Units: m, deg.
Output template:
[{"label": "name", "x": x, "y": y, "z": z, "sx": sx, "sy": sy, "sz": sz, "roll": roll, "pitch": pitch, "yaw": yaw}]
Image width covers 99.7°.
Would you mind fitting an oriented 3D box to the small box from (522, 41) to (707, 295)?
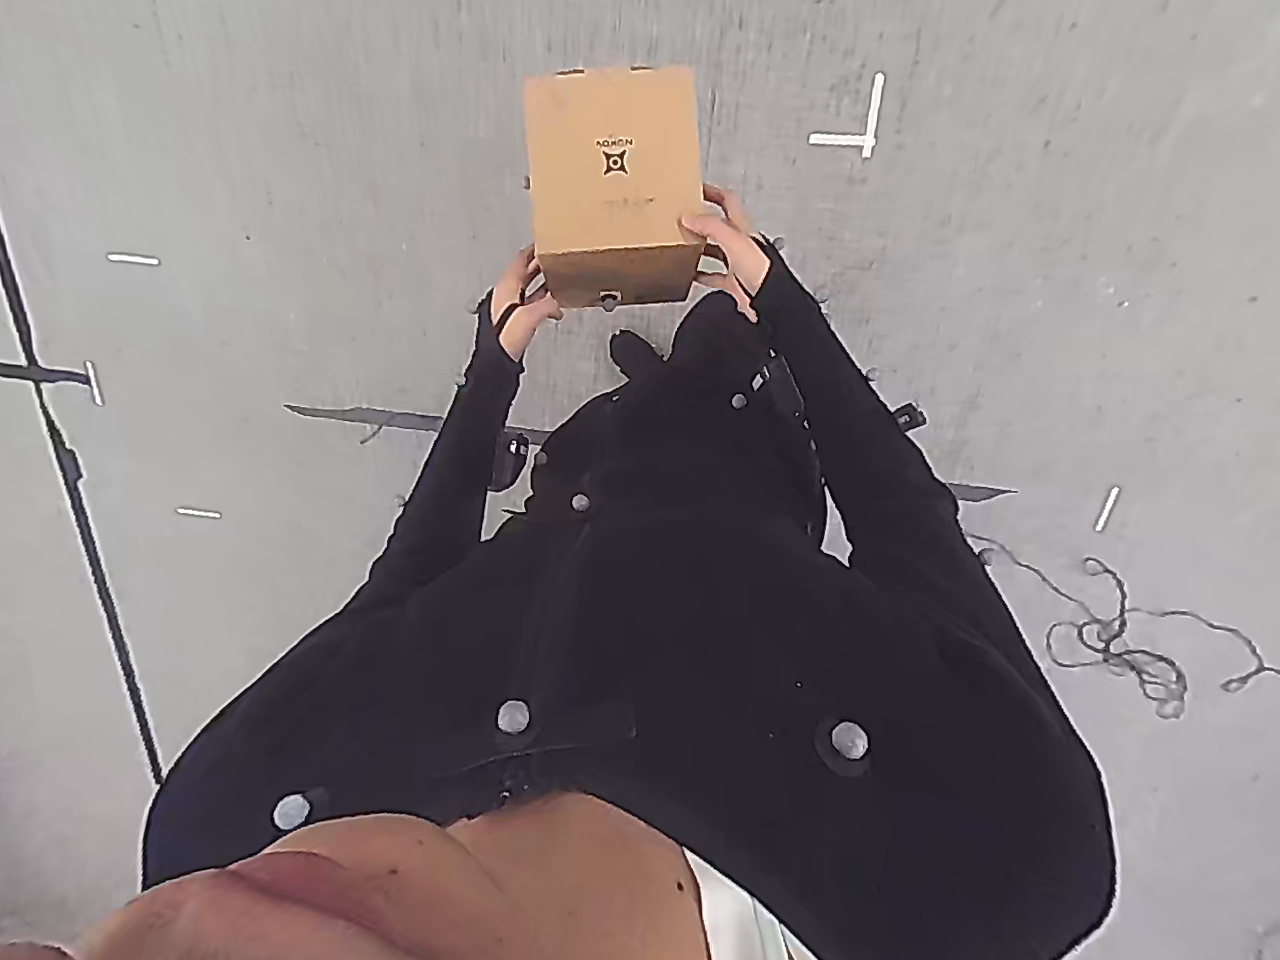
[{"label": "small box", "x": -0.027, "y": -0.318, "z": 0.581, "sx": 0.168, "sy": 0.176, "sz": 0.179, "roll": -4, "pitch": 89, "yaw": -2}]
